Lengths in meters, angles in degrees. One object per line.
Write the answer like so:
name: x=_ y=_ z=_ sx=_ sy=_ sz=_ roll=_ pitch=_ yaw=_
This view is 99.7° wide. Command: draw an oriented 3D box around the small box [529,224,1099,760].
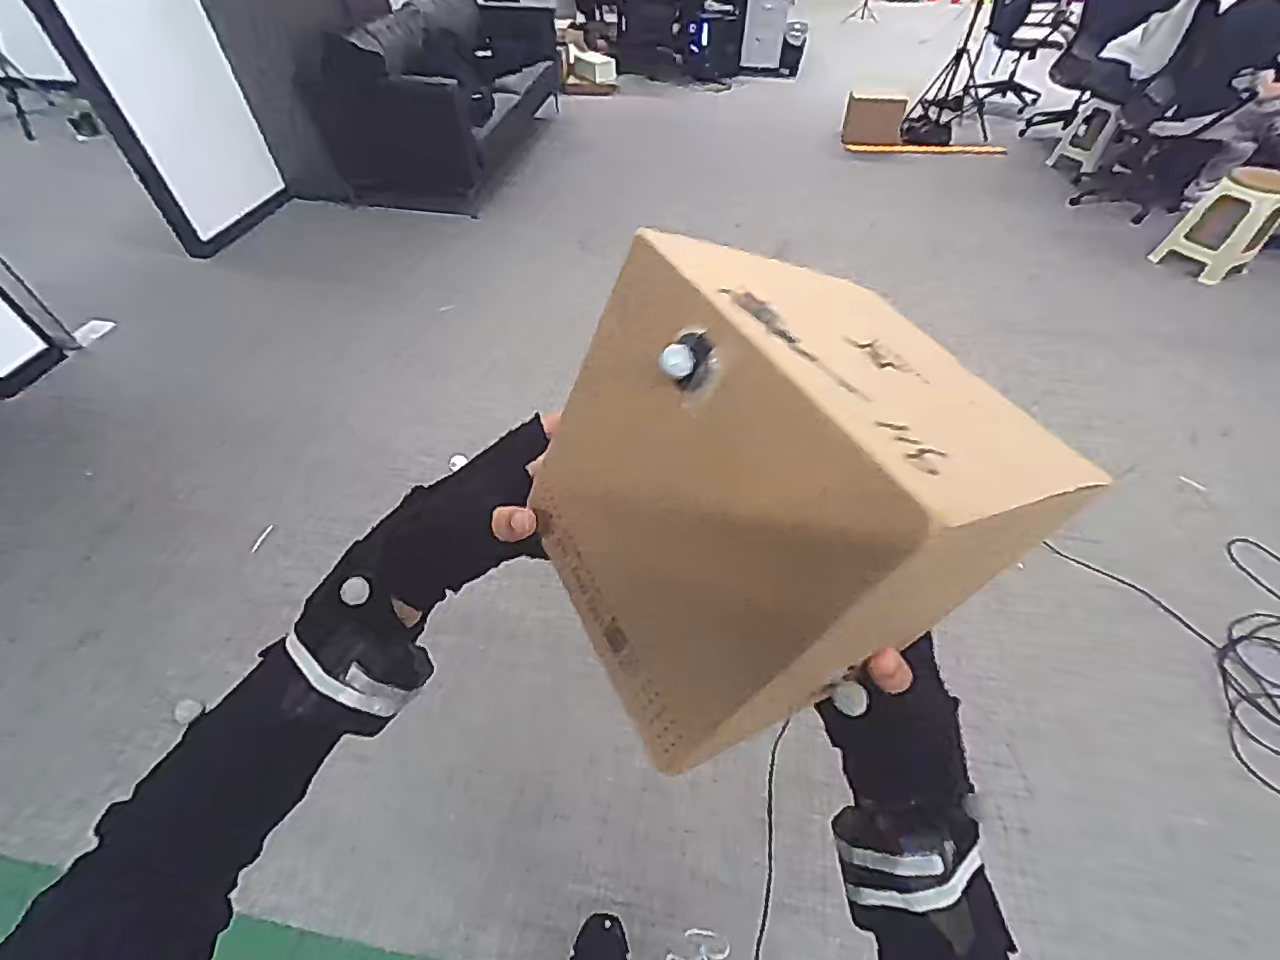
small box: x=0.069 y=0.006 z=0.277 sx=0.179 sy=0.176 sz=0.168 roll=-4 pitch=47 yaw=-39
